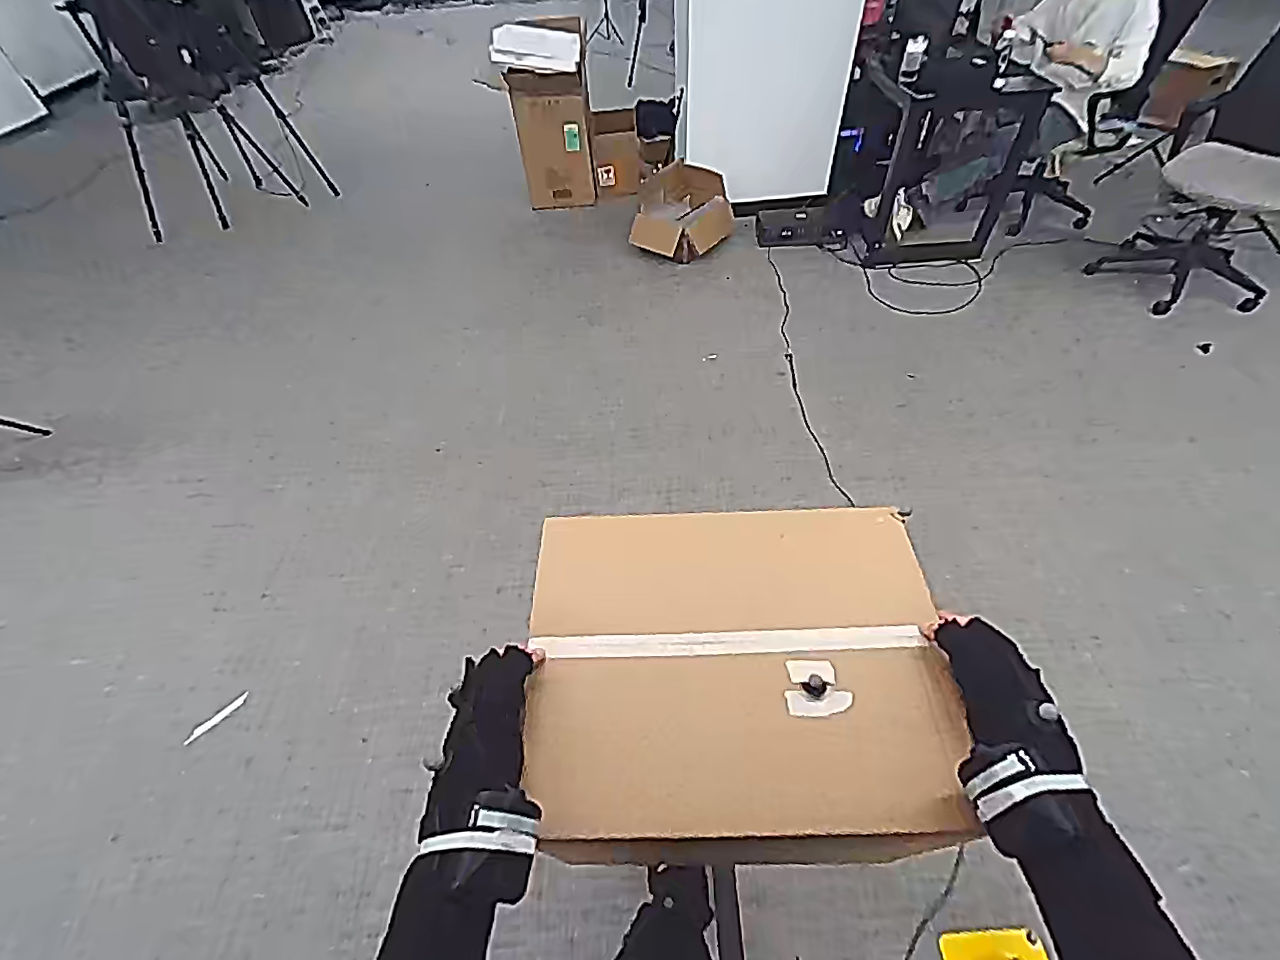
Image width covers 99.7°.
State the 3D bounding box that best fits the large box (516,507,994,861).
[{"bbox_3d":[0.095,0.252,0.651,0.408,0.320,0.320,-2,51,1],"label":"large box"}]
